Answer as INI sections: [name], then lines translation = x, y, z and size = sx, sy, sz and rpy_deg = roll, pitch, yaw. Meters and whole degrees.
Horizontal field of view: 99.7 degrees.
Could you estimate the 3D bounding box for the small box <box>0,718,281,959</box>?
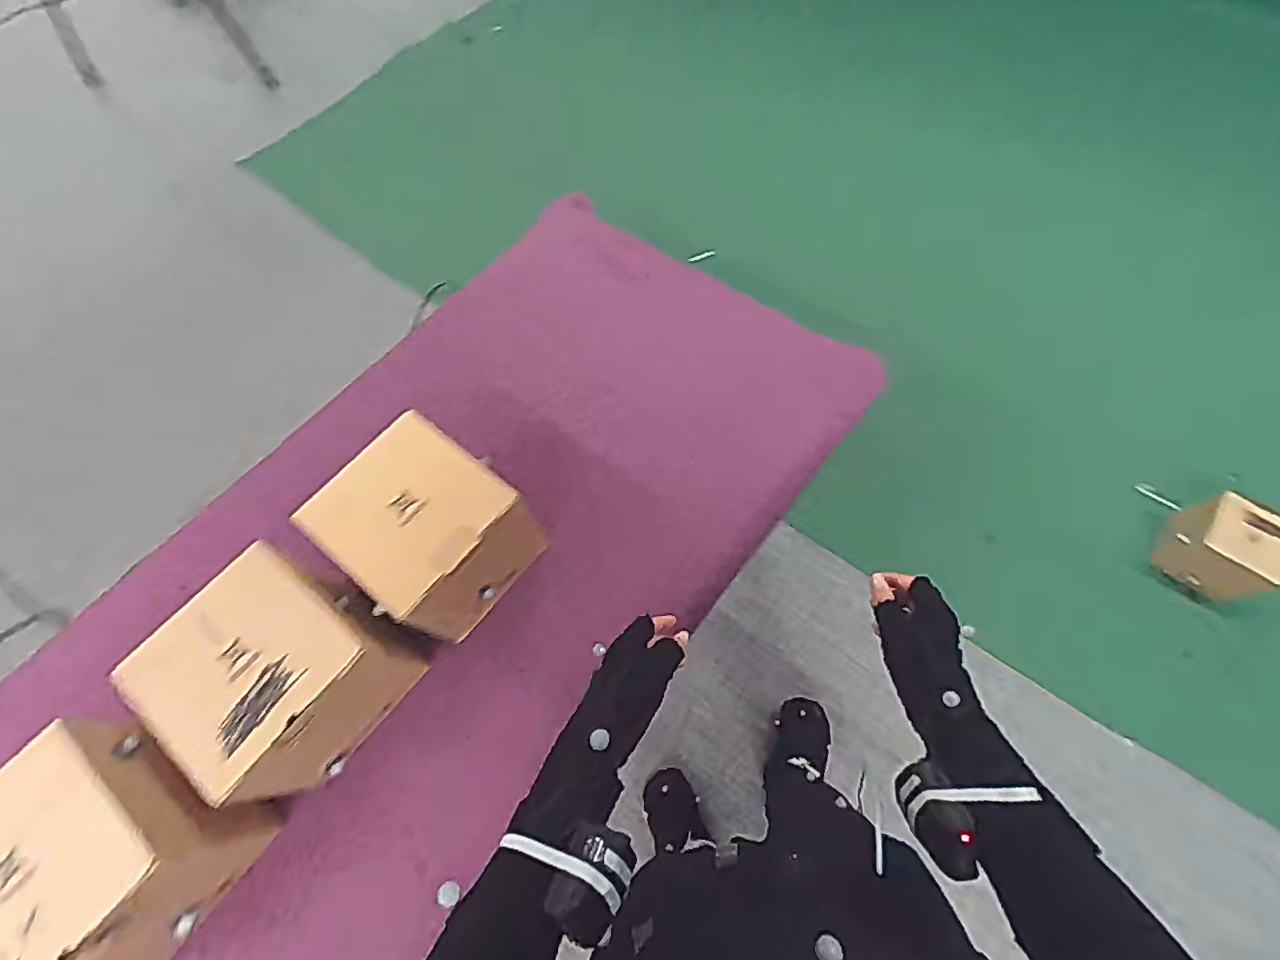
[small box]
translation = -0.507, 0.357, 0.519
size = 0.179, 0.176, 0.168
rpy_deg = 35, 72, 16
